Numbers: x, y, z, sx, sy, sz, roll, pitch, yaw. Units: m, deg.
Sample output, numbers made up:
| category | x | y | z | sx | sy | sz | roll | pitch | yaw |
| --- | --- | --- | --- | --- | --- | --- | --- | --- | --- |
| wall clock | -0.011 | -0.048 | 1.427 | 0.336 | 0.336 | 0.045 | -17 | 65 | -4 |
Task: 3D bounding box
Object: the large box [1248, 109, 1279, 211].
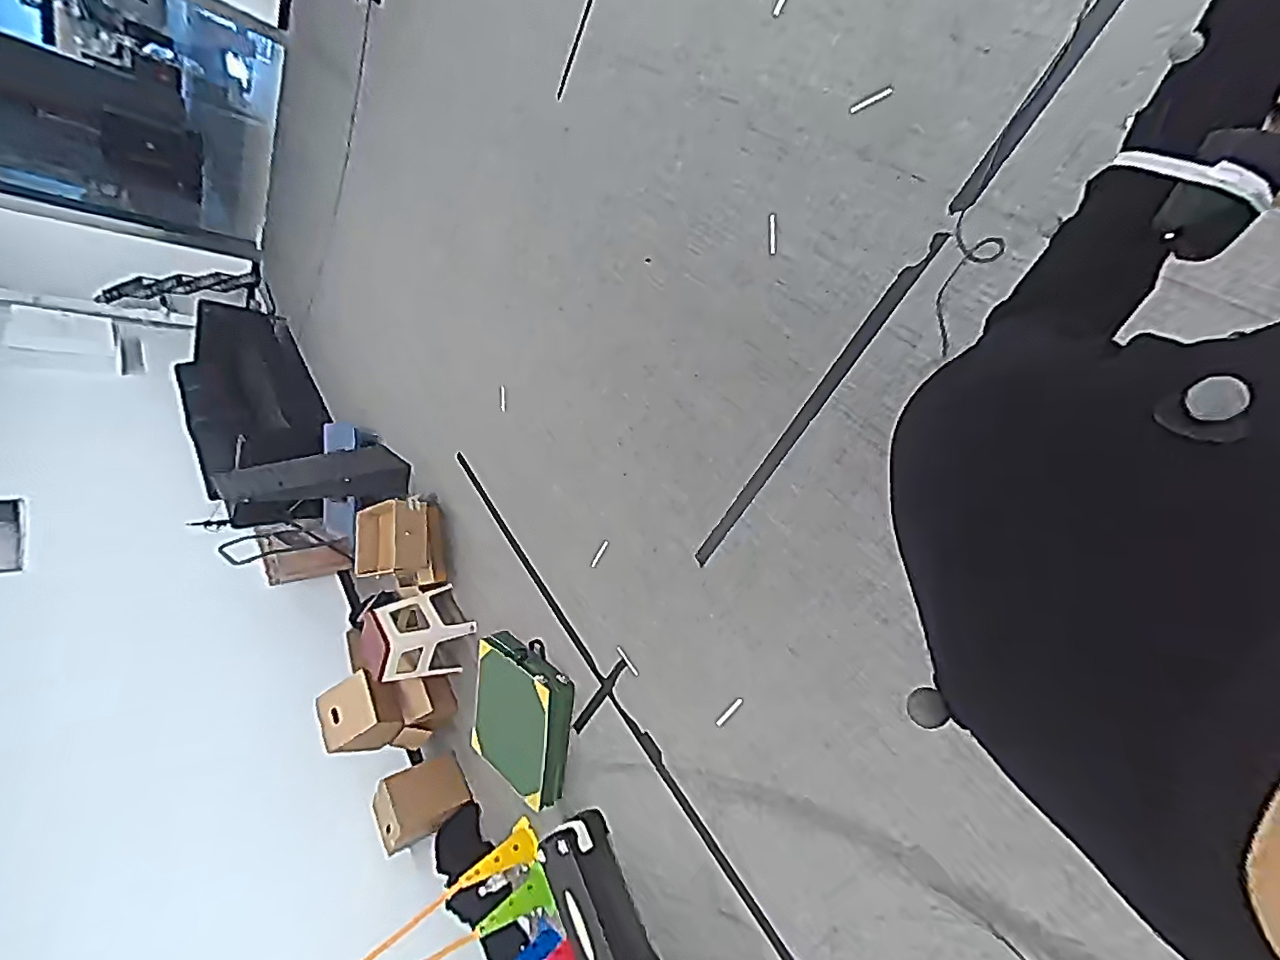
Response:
| category | x | y | z | sx | sy | sz | roll | pitch | yaw |
| --- | --- | --- | --- | --- | --- | --- | --- | --- | --- |
| large box | 0.664 | -0.272 | 0.255 | 0.408 | 0.320 | 0.320 | 41 | 127 | 32 |
